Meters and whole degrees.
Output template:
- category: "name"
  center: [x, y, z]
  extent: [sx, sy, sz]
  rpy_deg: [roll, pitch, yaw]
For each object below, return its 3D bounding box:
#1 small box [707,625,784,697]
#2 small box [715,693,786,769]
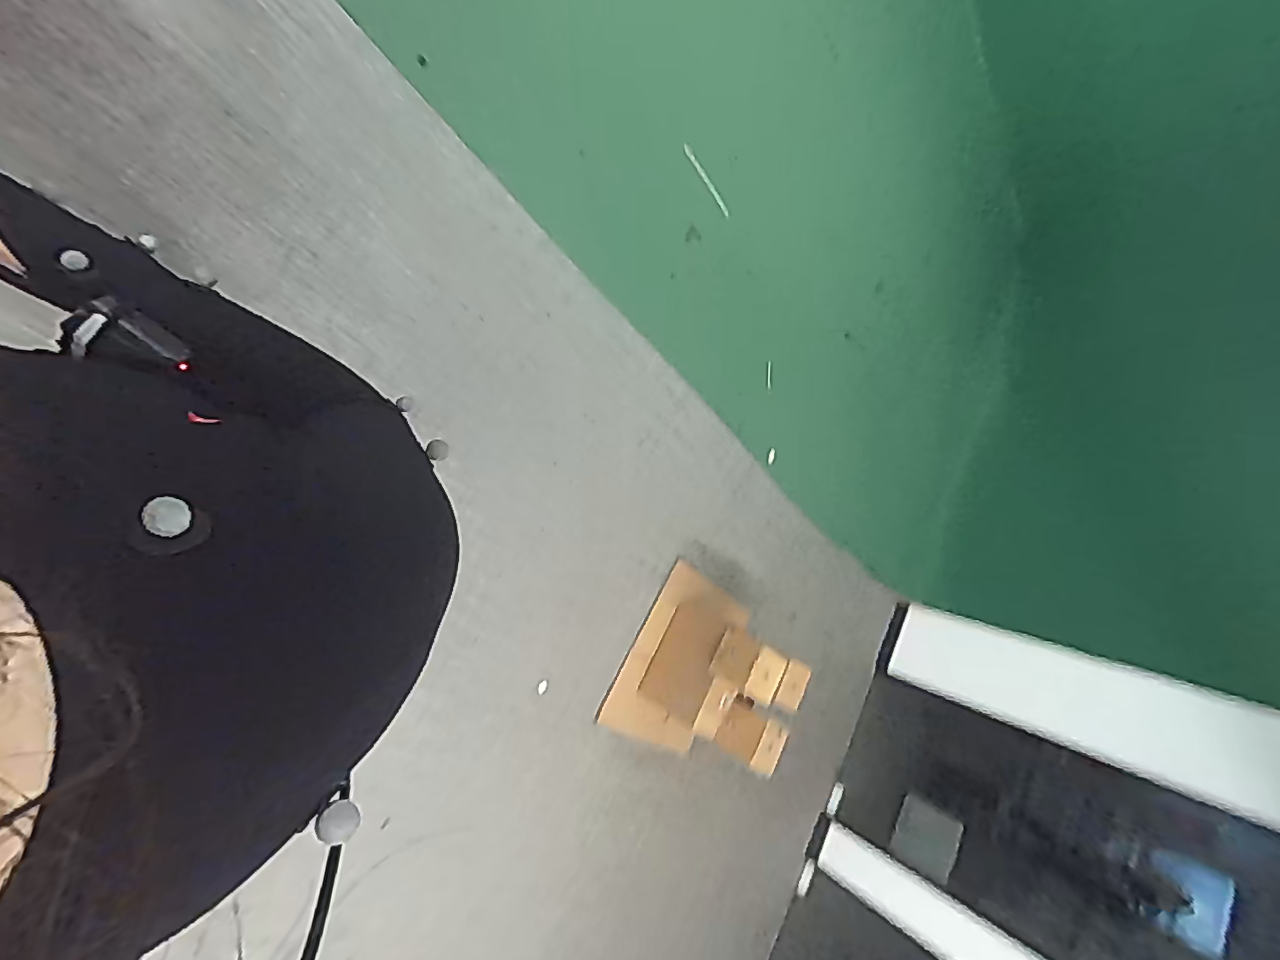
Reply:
- category: "small box"
  center: [0.374, 0.640, 1.927]
  extent: [0.179, 0.176, 0.168]
  rpy_deg: [40, 72, -36]
- category: "small box"
  center: [0.400, 0.920, 1.992]
  extent: [0.168, 0.176, 0.179]
  rpy_deg: [44, 68, -36]
